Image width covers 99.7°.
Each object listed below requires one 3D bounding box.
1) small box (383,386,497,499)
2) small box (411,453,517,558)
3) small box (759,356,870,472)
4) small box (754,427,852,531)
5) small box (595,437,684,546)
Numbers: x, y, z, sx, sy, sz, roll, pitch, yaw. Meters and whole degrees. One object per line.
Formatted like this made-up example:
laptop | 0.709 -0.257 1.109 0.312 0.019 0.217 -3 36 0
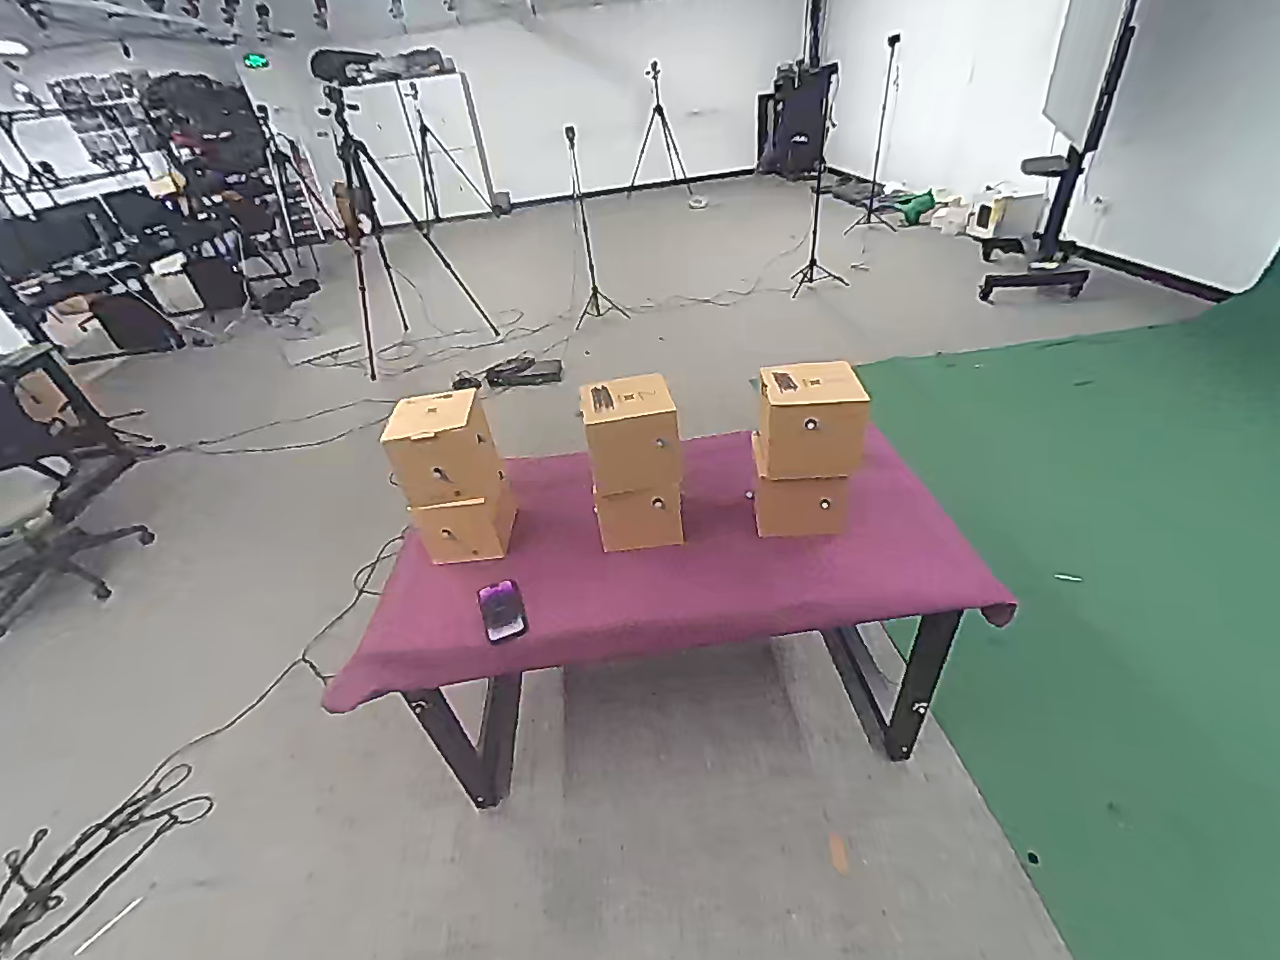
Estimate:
small box | -0.406 -0.074 1.132 0.168 0.176 0.179 -9 37 -2
small box | -0.386 0.062 1.222 0.168 0.176 0.179 -7 36 3
small box | 0.330 -0.127 1.058 0.179 0.176 0.168 -3 36 6
small box | 0.341 -0.005 1.167 0.179 0.176 0.168 -4 36 8
small box | 0.002 0.027 1.190 0.179 0.176 0.168 -7 36 2
